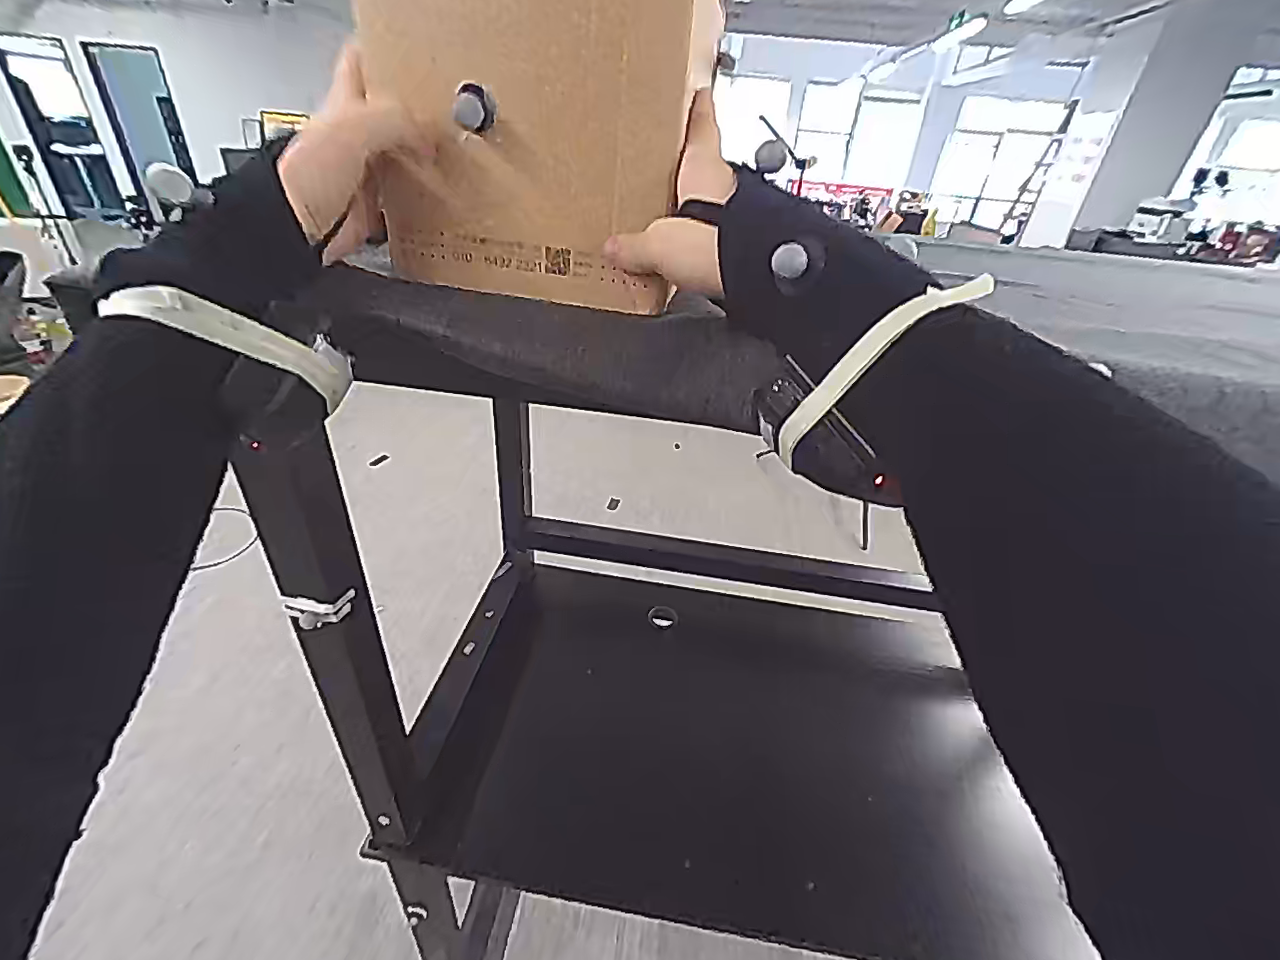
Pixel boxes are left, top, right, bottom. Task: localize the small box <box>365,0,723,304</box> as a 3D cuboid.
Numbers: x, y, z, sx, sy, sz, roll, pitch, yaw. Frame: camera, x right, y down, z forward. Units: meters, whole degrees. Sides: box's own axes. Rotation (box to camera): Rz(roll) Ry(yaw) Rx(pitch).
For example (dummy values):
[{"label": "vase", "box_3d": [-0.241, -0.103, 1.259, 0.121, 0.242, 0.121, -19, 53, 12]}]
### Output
[{"label": "small box", "box_3d": [-0.043, -0.218, 0.348, 0.168, 0.176, 0.179, 10, 28, 6]}]
